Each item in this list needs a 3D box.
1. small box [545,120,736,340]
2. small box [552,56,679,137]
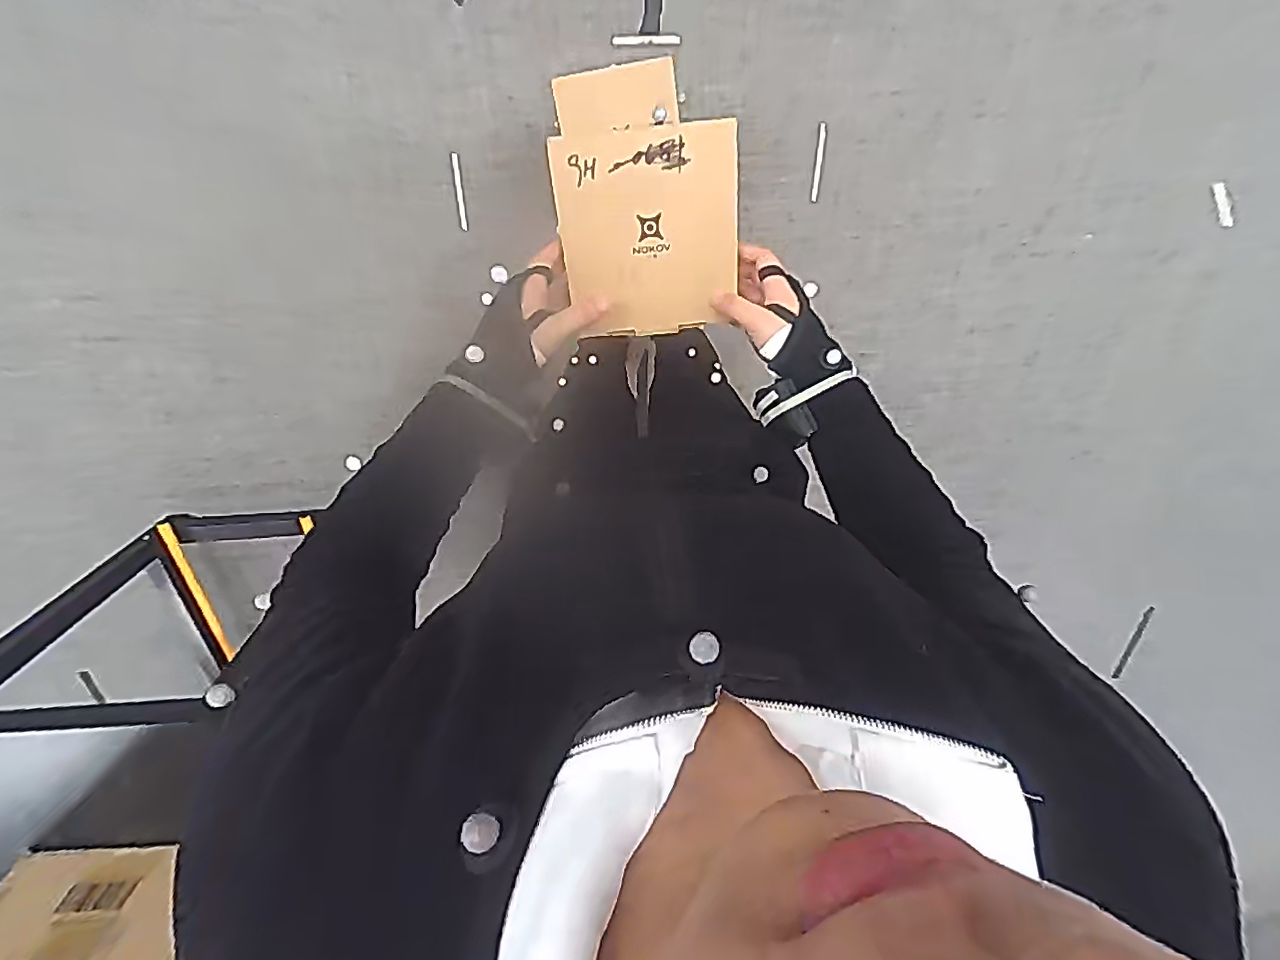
[{"bbox_3d":[0.005,-0.266,0.569,0.168,0.176,0.179,-6,124,1],"label":"small box"},{"bbox_3d":[-0.030,-0.503,0.816,0.168,0.176,0.179,-9,119,2],"label":"small box"}]
